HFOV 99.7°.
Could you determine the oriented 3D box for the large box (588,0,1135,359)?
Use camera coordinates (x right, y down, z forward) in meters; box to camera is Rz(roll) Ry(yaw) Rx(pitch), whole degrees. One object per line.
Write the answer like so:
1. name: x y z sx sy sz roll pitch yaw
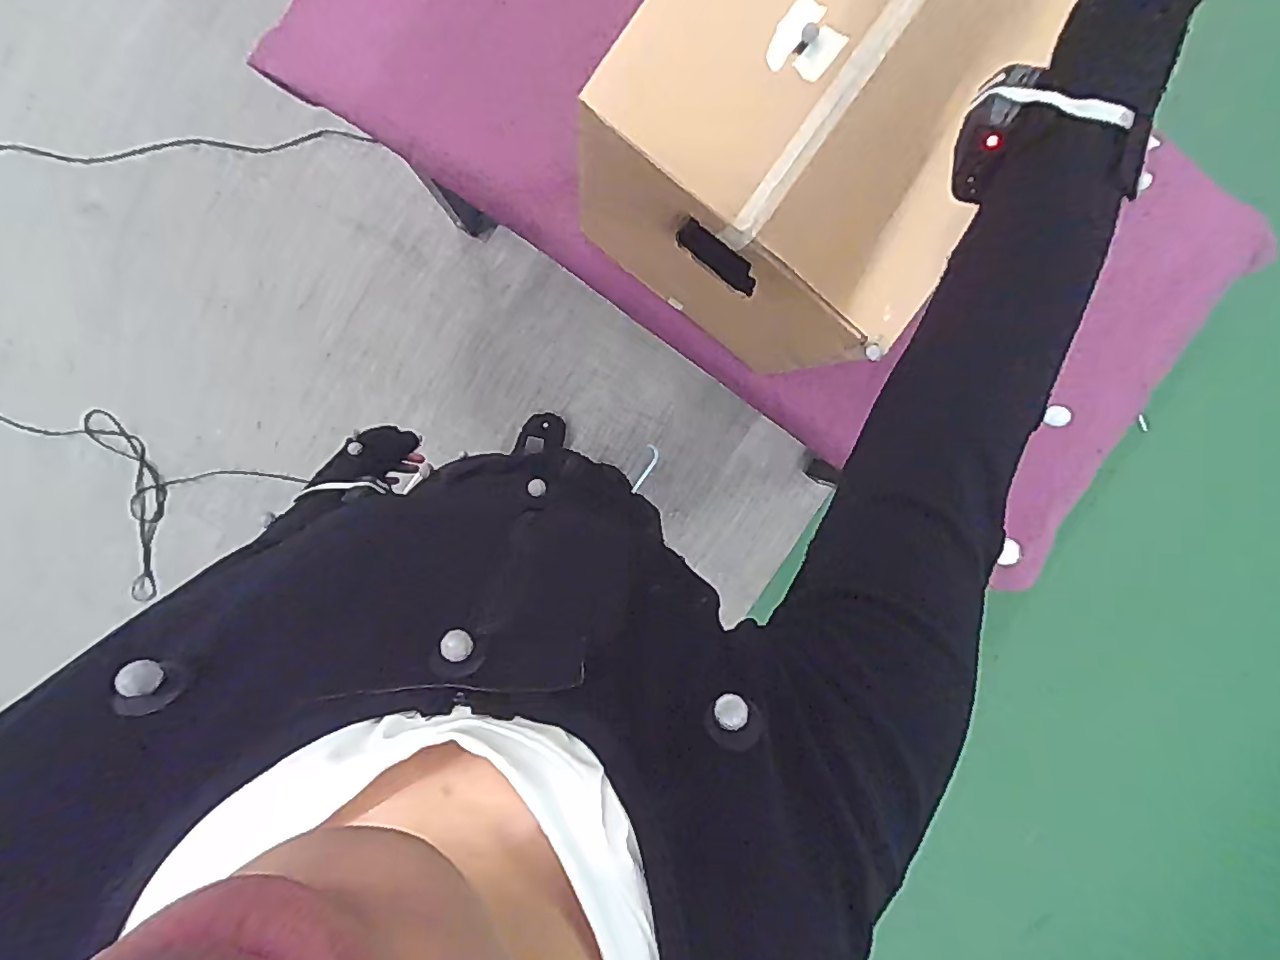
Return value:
1. large box: 0.181 -0.387 0.575 0.320 0.320 0.408 36 94 -10
